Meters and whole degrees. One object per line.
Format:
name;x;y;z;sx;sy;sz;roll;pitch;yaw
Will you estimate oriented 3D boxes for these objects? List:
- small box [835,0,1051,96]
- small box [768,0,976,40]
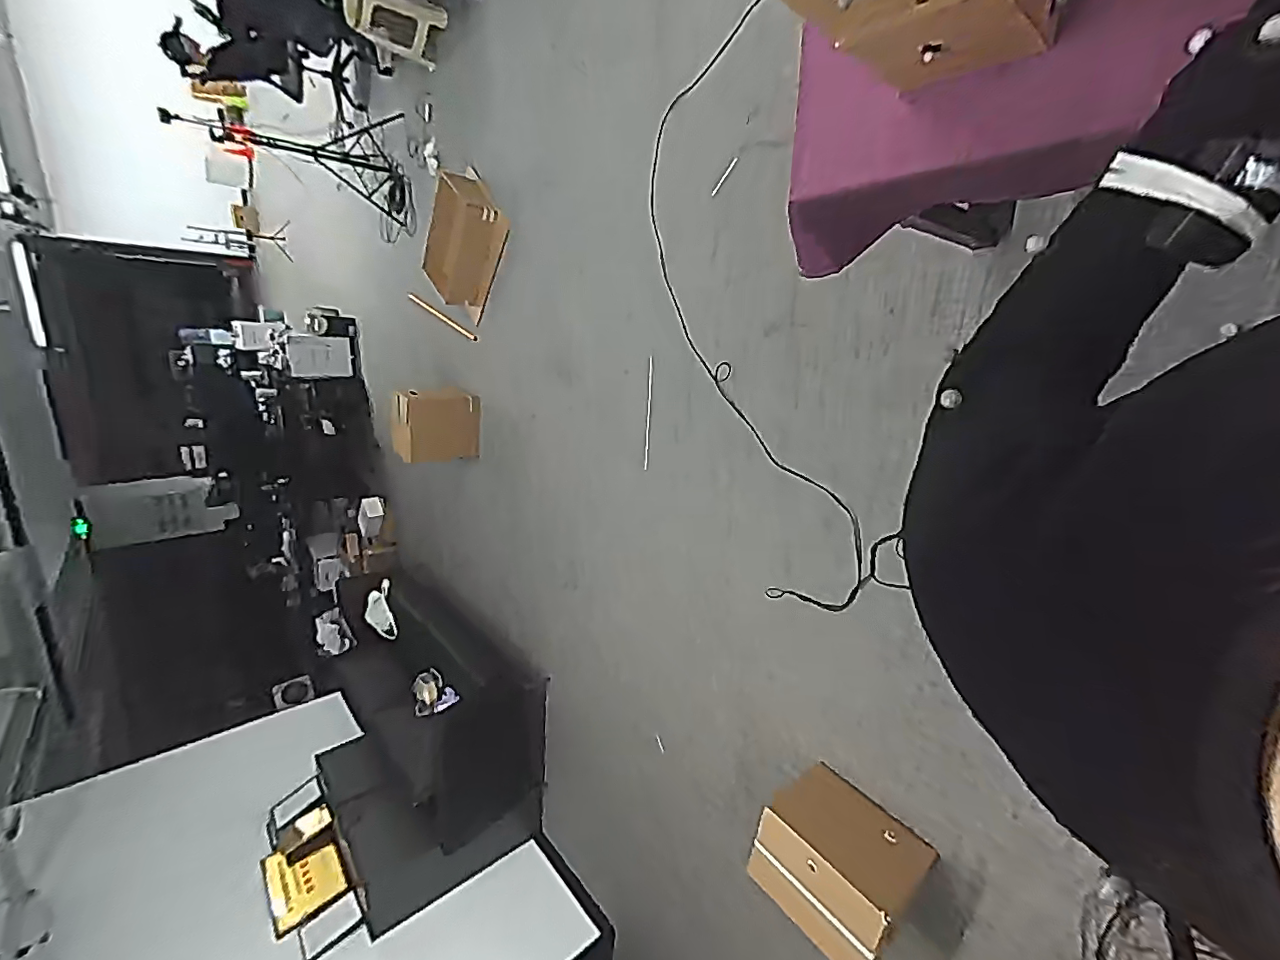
small box;0.351;-0.569;0.606;0.179;0.176;0.168;19;111;46
small box;0.230;-0.550;0.498;0.168;0.176;0.179;20;111;46
